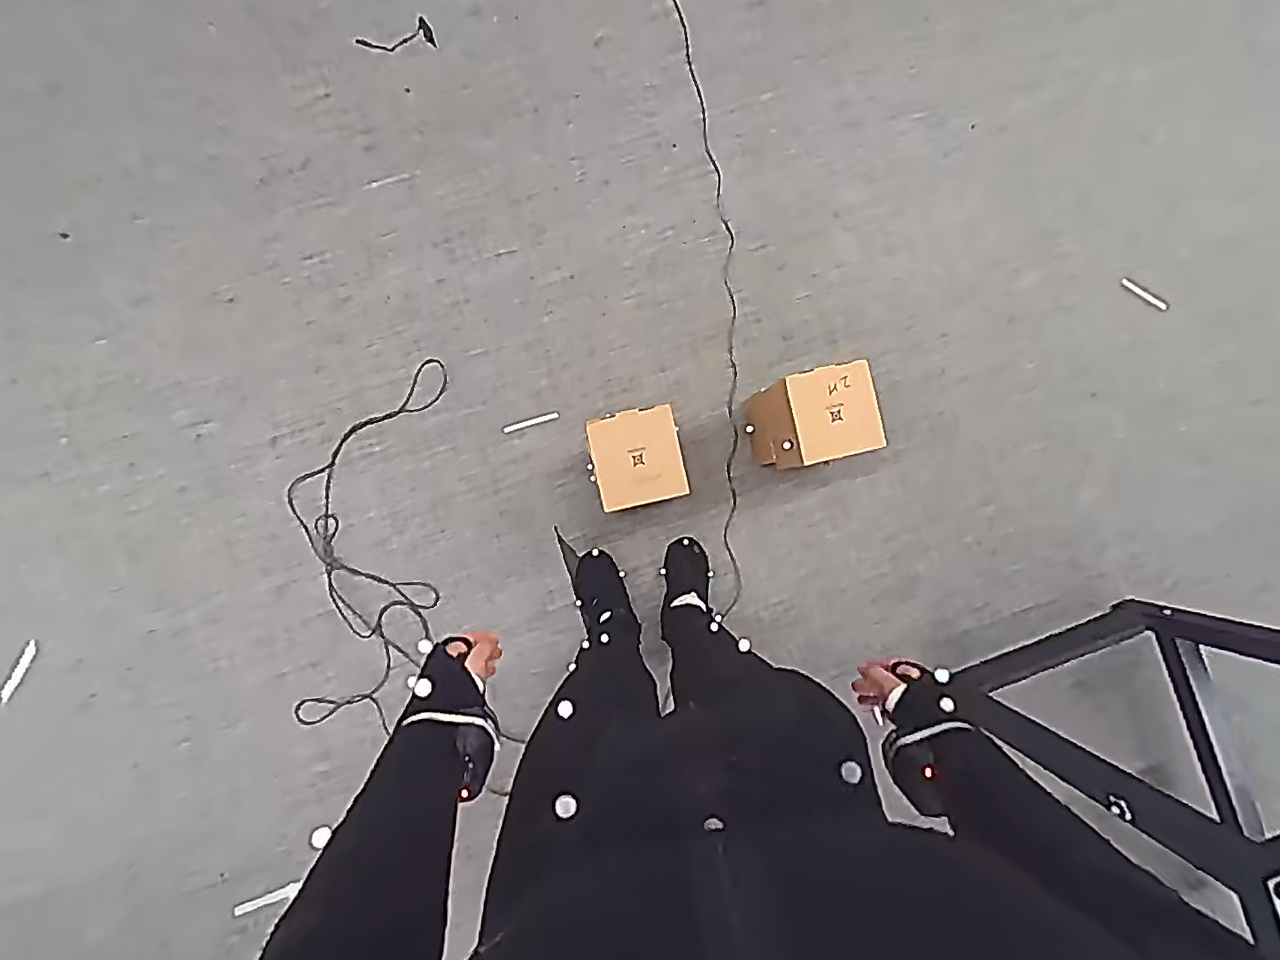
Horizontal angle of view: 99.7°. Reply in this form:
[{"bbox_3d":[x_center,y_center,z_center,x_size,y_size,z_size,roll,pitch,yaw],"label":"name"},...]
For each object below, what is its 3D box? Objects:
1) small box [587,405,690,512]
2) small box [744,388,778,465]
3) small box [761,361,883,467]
[{"bbox_3d":[-0.007,-0.039,1.092,0.168,0.176,0.179,-13,90,-2],"label":"small box"},{"bbox_3d":[0.358,-0.131,1.272,0.179,0.176,0.168,-10,88,-2],"label":"small box"},{"bbox_3d":[0.363,-0.125,1.107,0.168,0.176,0.179,-13,88,-4],"label":"small box"}]
